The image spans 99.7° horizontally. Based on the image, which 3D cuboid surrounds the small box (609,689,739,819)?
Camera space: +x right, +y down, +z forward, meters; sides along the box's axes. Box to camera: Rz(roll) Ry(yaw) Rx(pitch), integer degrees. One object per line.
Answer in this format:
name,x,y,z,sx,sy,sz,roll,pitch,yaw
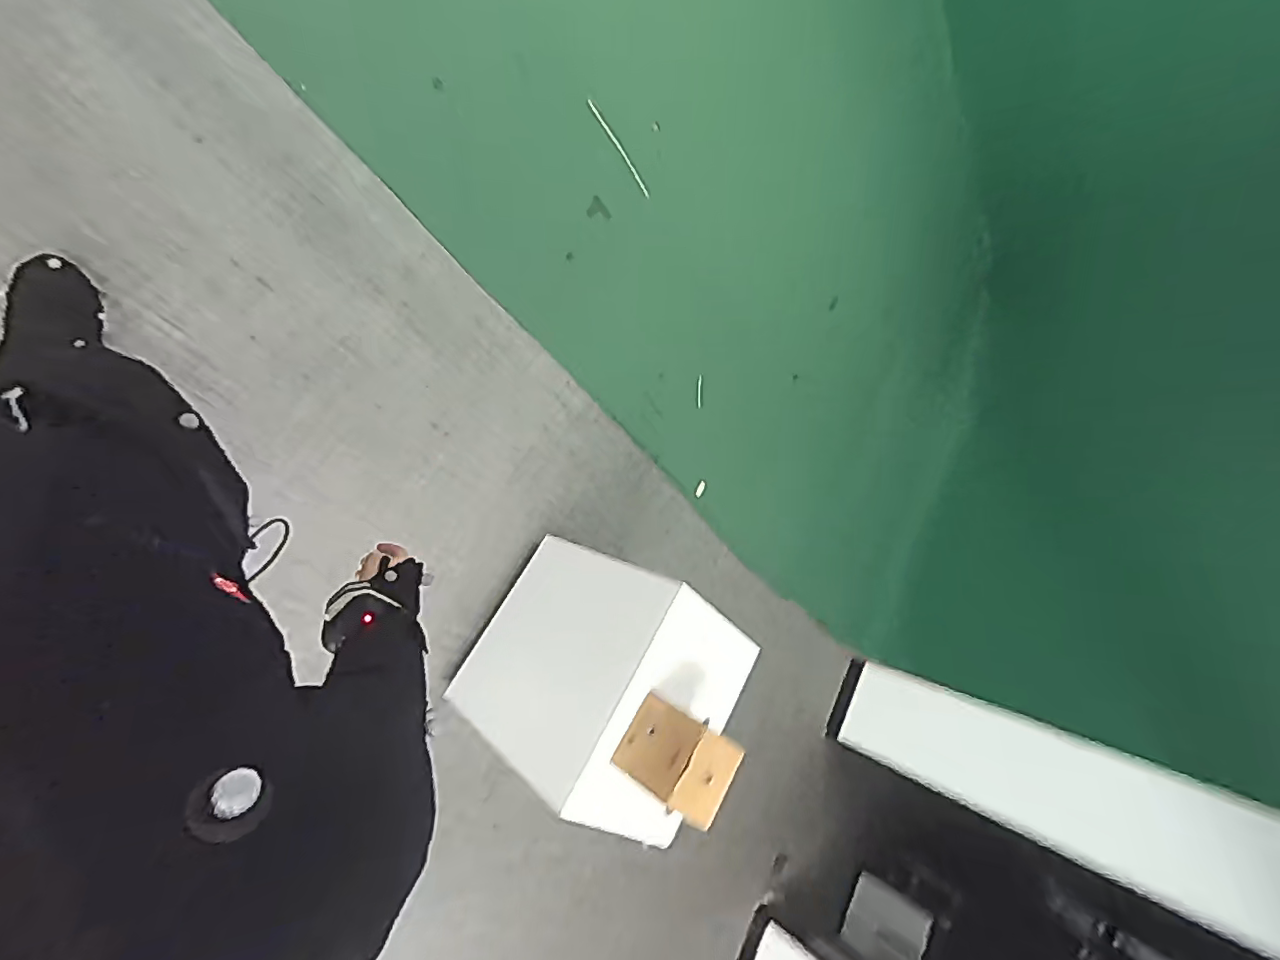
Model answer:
small box,0.071,0.567,1.134,0.179,0.176,0.168,49,64,-36
